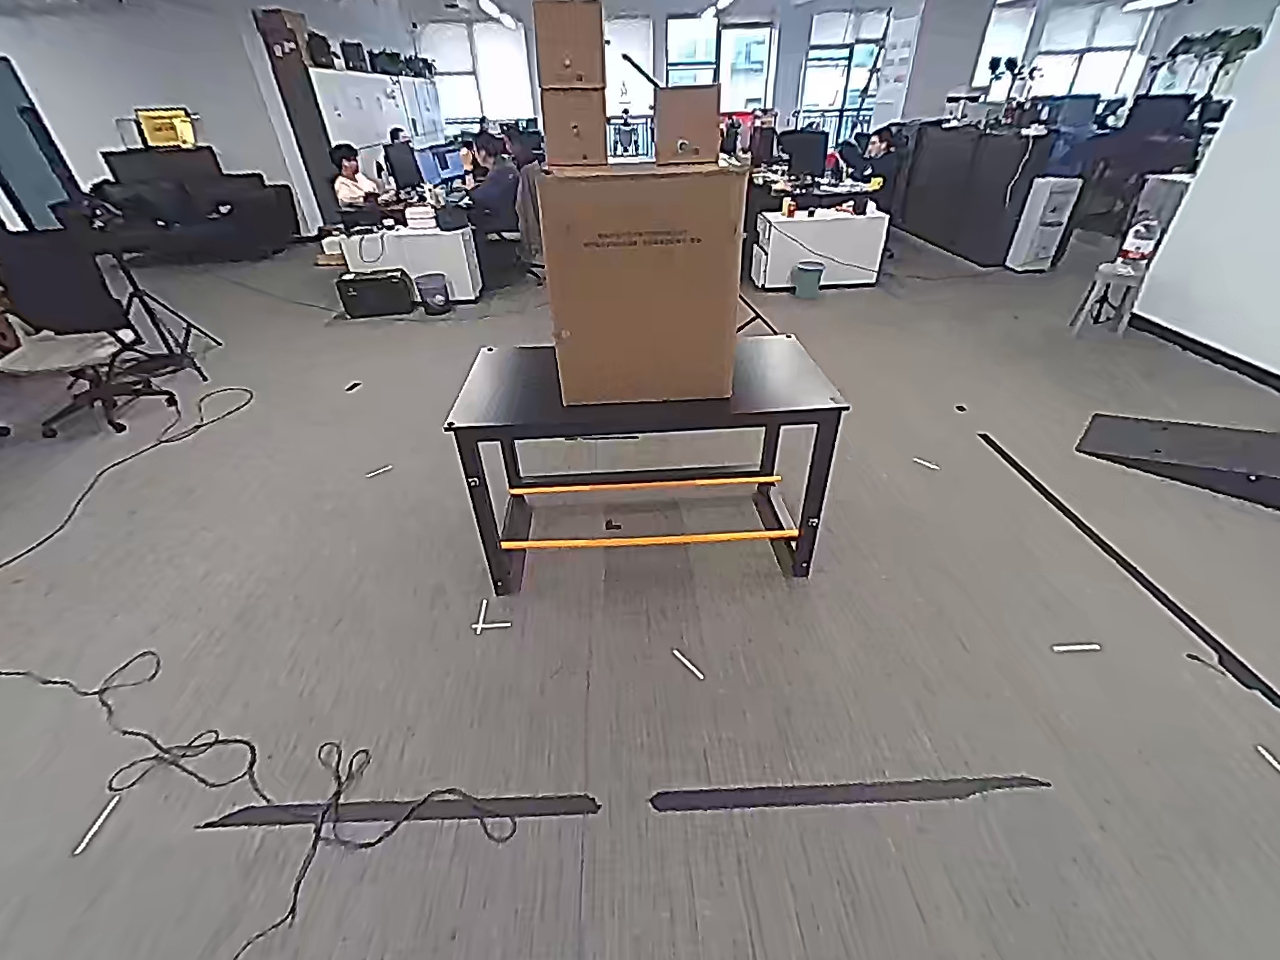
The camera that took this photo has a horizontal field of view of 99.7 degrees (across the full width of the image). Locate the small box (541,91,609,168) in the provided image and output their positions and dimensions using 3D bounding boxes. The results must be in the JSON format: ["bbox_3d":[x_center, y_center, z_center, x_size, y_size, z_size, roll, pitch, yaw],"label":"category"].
[{"bbox_3d":[-0.170,-0.948,1.463,0.168,0.176,0.179,-2,36,-2],"label":"small box"}]

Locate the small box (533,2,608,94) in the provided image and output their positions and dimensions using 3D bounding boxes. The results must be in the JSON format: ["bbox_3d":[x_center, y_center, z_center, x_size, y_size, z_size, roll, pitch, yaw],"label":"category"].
[{"bbox_3d":[-0.168,-1.074,1.354,0.168,0.176,0.179,-1,36,-1],"label":"small box"}]

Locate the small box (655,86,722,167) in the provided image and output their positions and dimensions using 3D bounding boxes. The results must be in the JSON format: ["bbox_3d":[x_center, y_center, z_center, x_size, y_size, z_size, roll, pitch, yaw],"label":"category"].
[{"bbox_3d":[0.124,-0.935,1.433,0.168,0.176,0.179,-4,36,2],"label":"small box"}]
